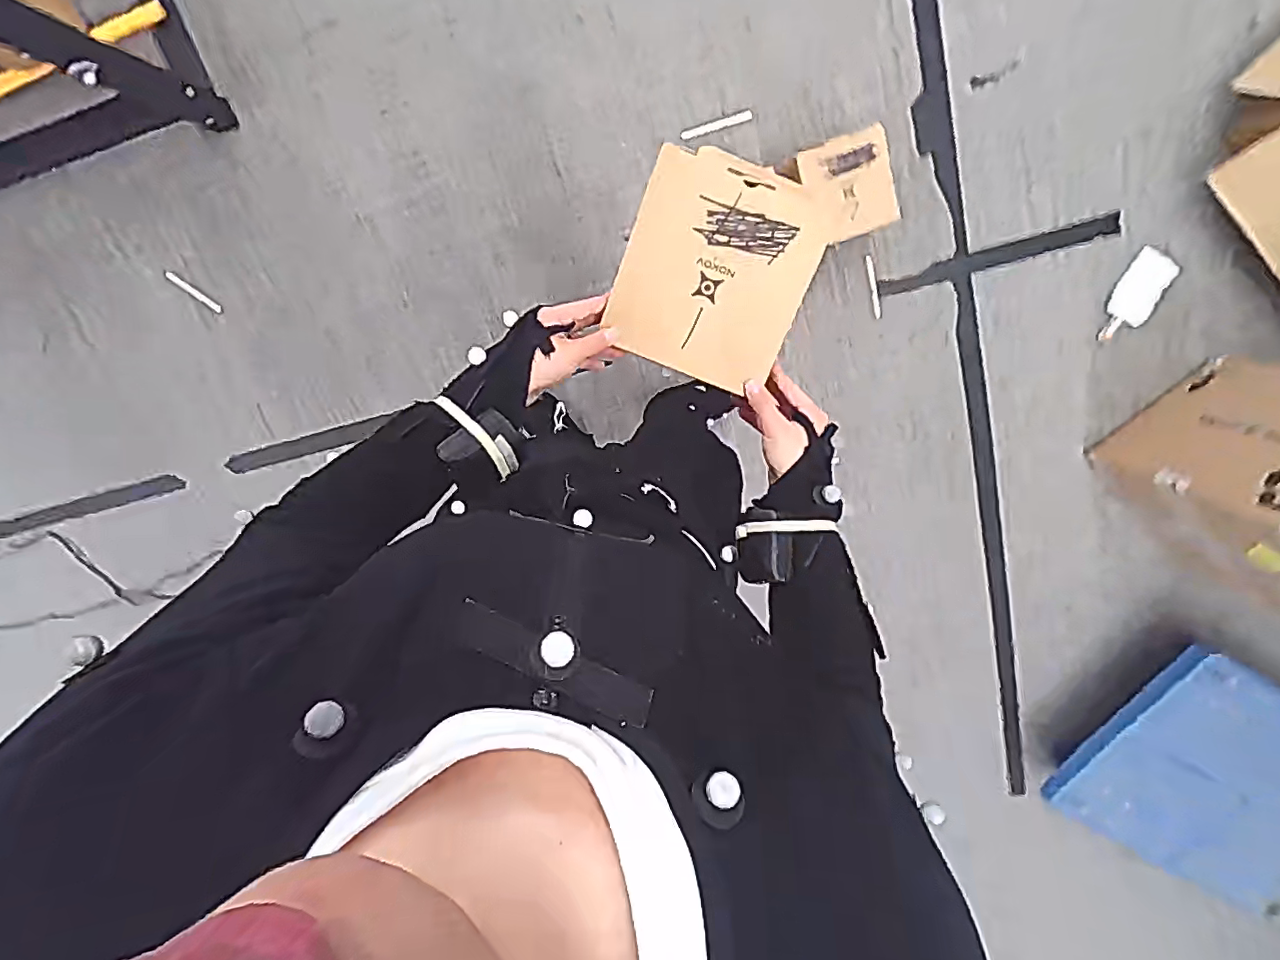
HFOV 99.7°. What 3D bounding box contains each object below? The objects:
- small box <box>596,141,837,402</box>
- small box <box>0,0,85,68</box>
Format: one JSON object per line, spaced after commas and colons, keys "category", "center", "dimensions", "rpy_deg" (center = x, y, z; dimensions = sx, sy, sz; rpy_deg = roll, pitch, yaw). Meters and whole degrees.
{"category": "small box", "center": [0.067, -0.199, 0.552], "dimensions": [0.168, 0.176, 0.179], "rpy_deg": [21, 106, -3]}
{"category": "small box", "center": [-1.149, -0.864, 0.934], "dimensions": [0.168, 0.176, 0.179], "rpy_deg": [-15, 108, 7]}
